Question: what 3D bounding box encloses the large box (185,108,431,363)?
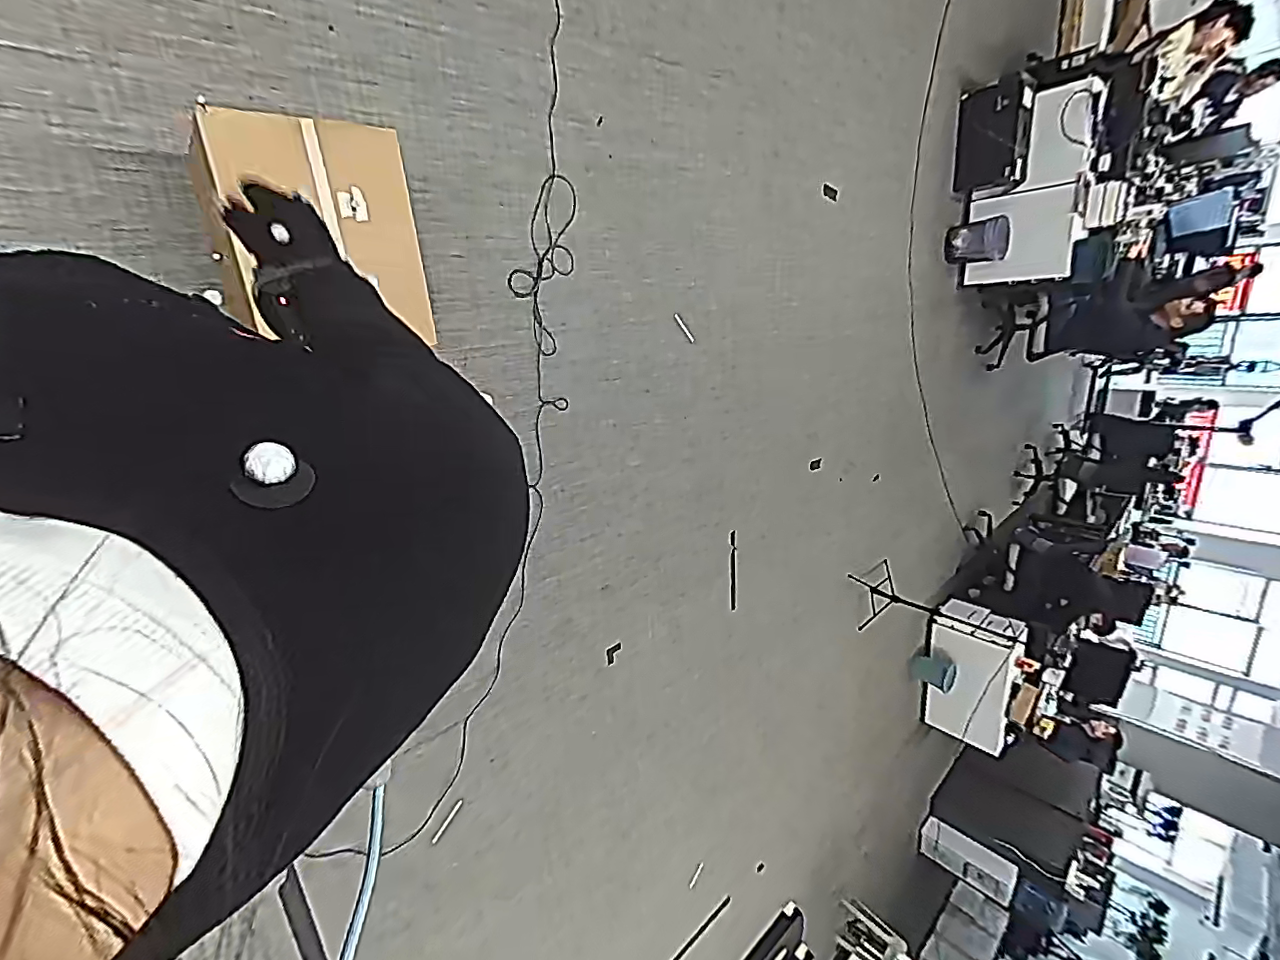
[{"bbox_3d":[-0.678,-0.467,1.117,0.320,0.320,0.408,-20,112,-39],"label":"large box"}]
